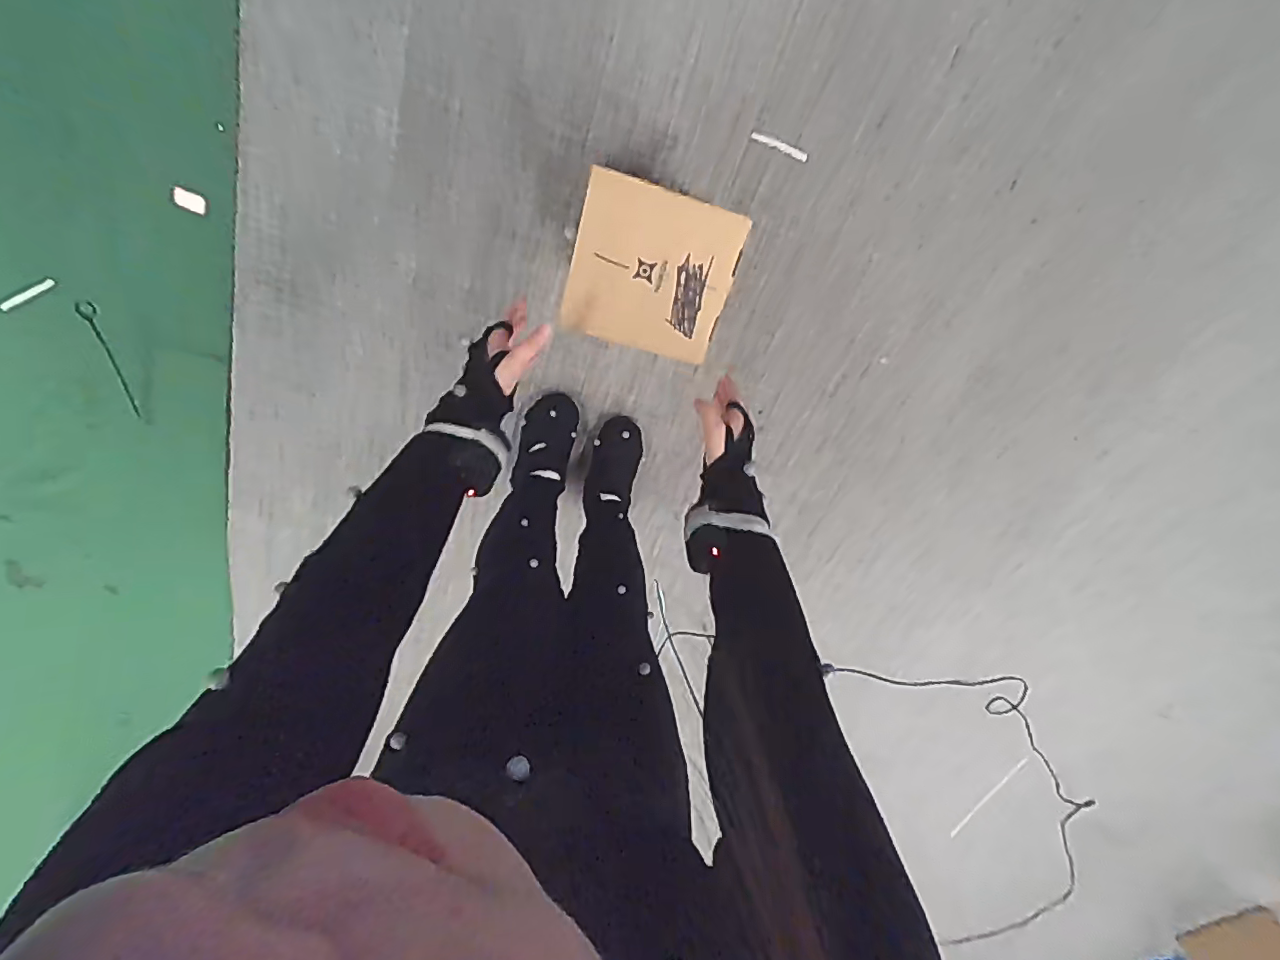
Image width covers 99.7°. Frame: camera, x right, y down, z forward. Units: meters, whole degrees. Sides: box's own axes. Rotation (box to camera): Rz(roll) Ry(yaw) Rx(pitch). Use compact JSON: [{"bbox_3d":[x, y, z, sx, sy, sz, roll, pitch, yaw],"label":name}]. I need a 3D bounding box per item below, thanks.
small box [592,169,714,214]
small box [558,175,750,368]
[{"bbox_3d":[-0.006,-0.342,0.806,0.168,0.176,0.179,12,117,-9],"label":"small box"},{"bbox_3d":[0.009,-0.259,0.665,0.179,0.176,0.168,14,116,-10],"label":"small box"}]
